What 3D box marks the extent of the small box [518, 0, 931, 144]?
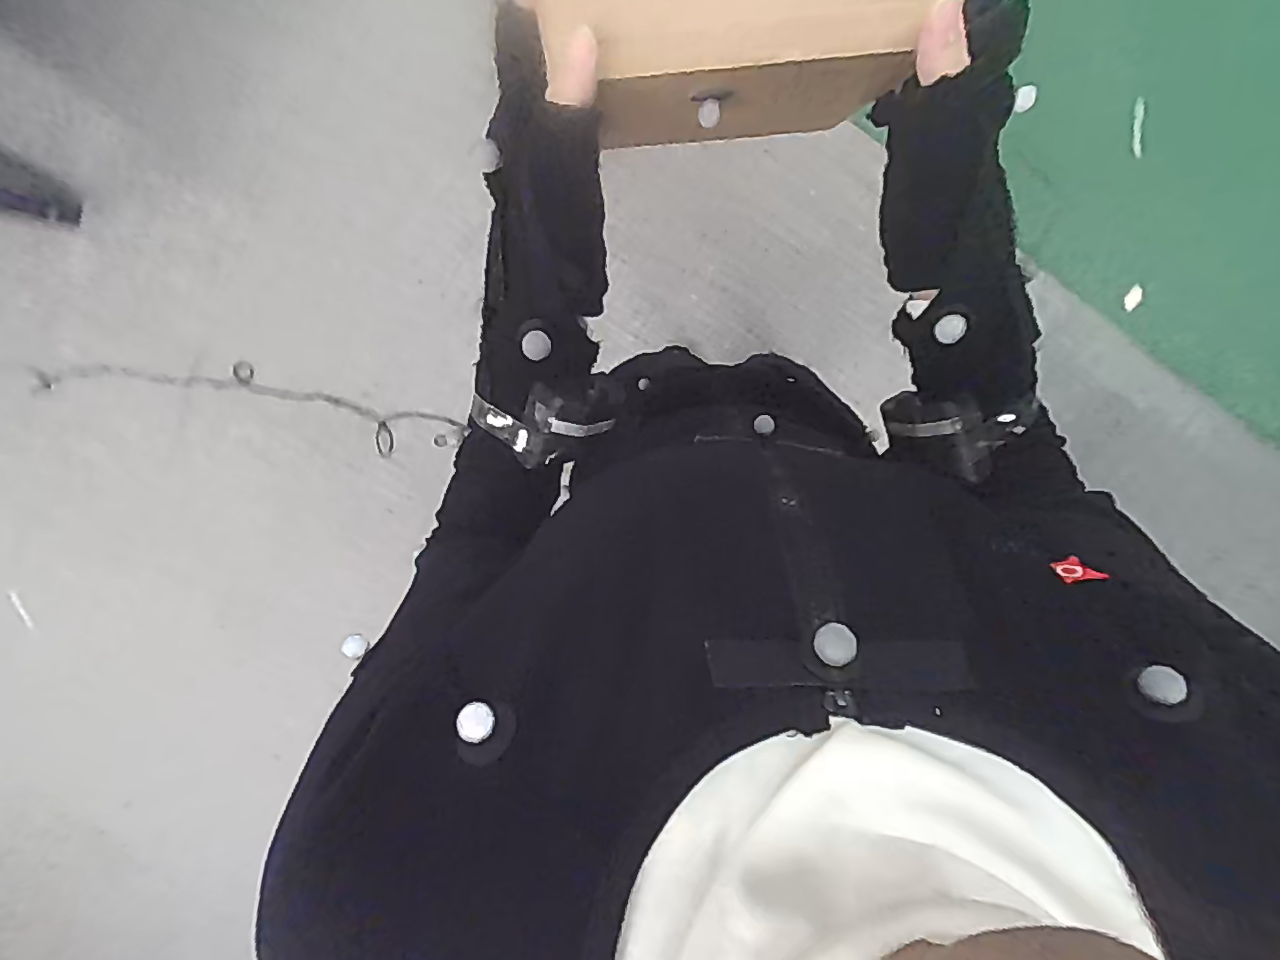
[{"bbox_3d":[0.031,-0.290,0.280,0.179,0.176,0.168,-5,112,2],"label":"small box"}]
